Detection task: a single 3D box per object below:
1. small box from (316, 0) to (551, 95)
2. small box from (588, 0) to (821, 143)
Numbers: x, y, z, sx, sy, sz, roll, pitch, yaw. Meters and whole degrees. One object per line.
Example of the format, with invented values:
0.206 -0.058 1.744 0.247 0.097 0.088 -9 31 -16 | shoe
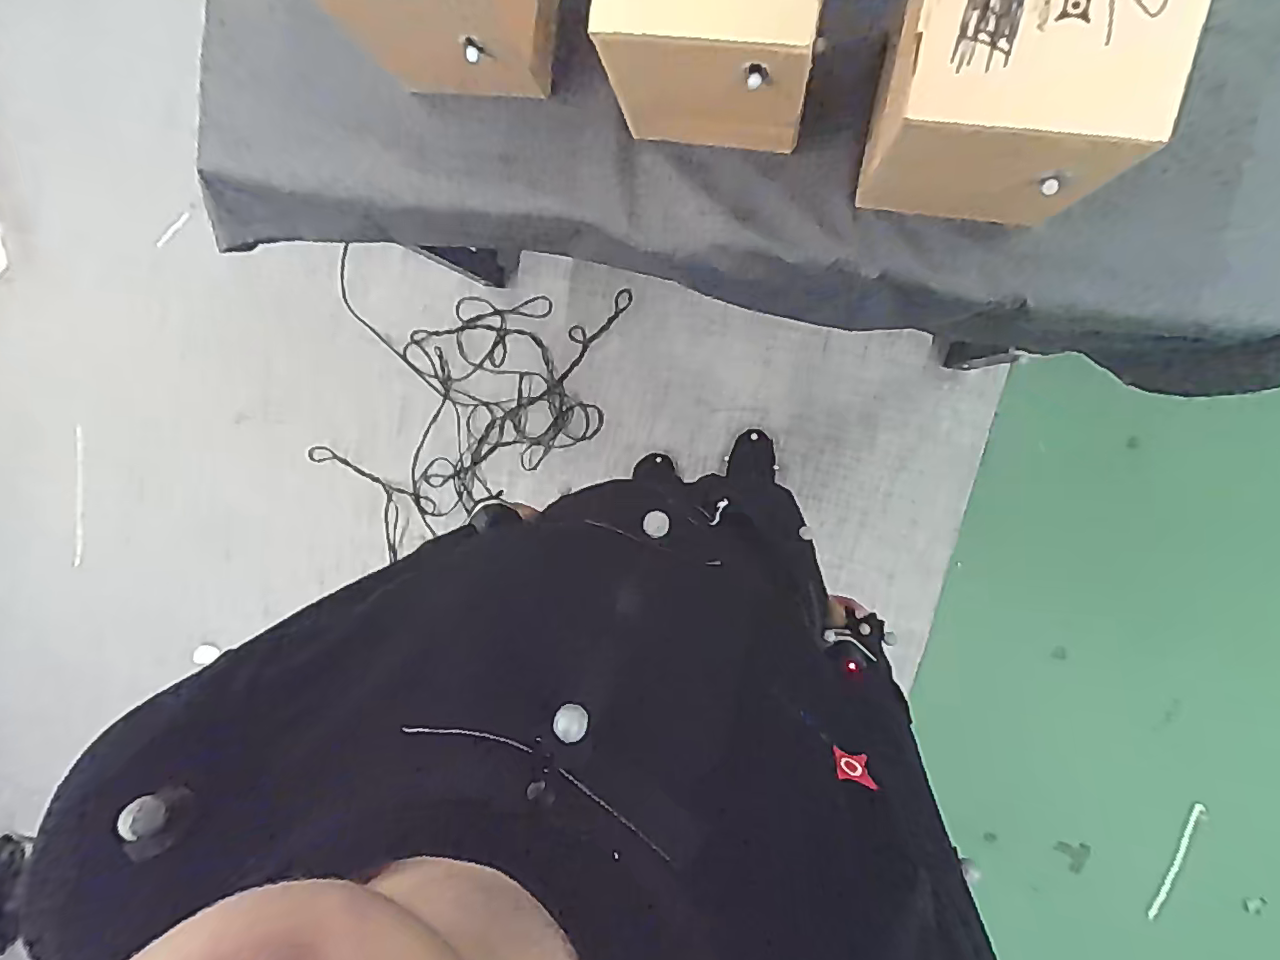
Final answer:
-0.188 -0.504 0.517 0.179 0.176 0.168 9 97 9 | small box
0.070 -0.428 0.479 0.179 0.176 0.168 11 99 8 | small box
